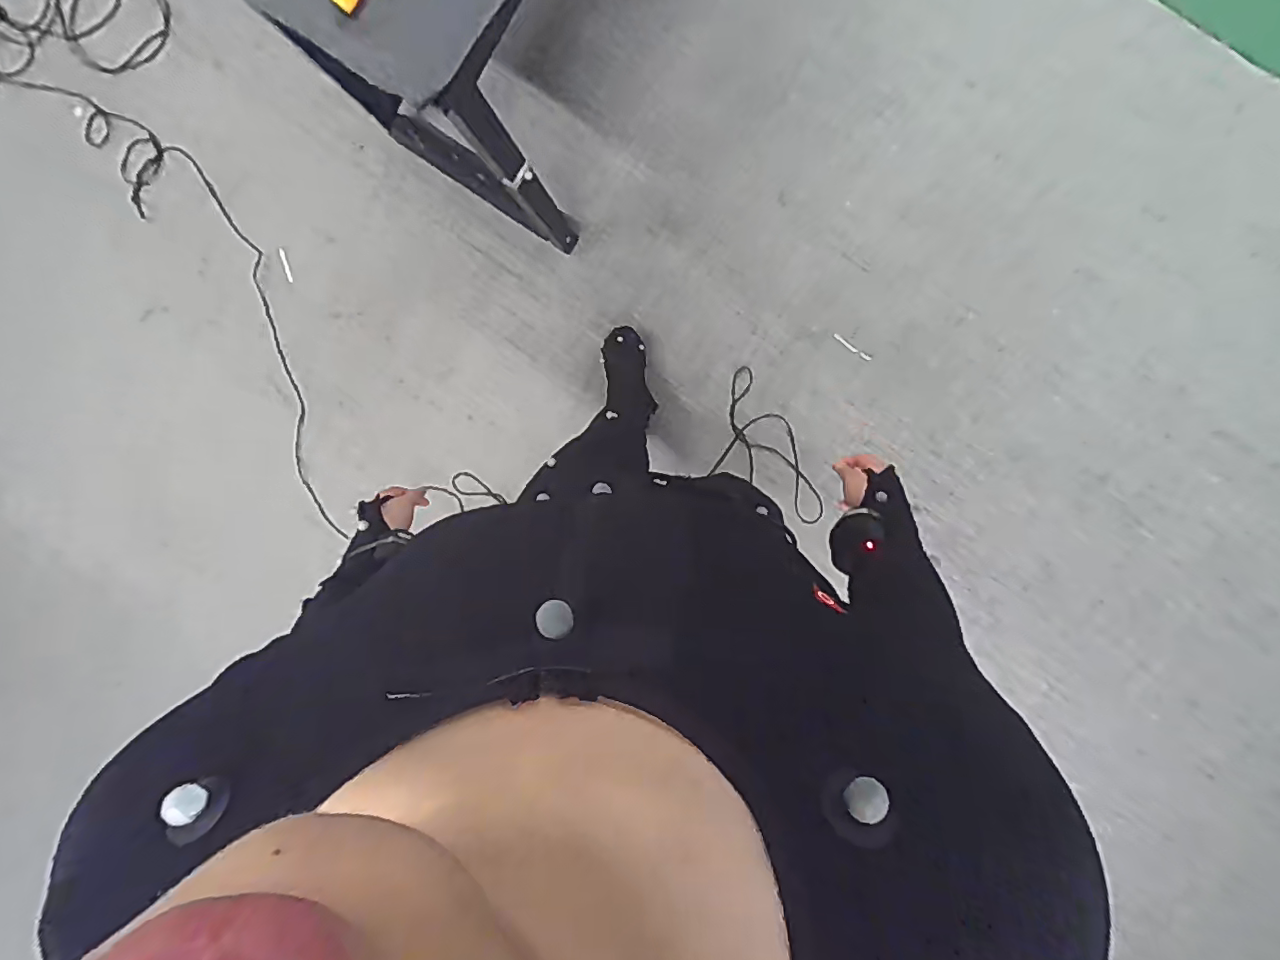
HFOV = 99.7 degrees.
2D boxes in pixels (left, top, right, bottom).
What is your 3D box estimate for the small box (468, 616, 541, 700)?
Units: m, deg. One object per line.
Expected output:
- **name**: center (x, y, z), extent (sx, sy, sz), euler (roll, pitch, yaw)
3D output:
- **small box**: center (-0.372, 0.481, 1.478), extent (0.179, 0.176, 0.168), euler (0, 97, 6)
